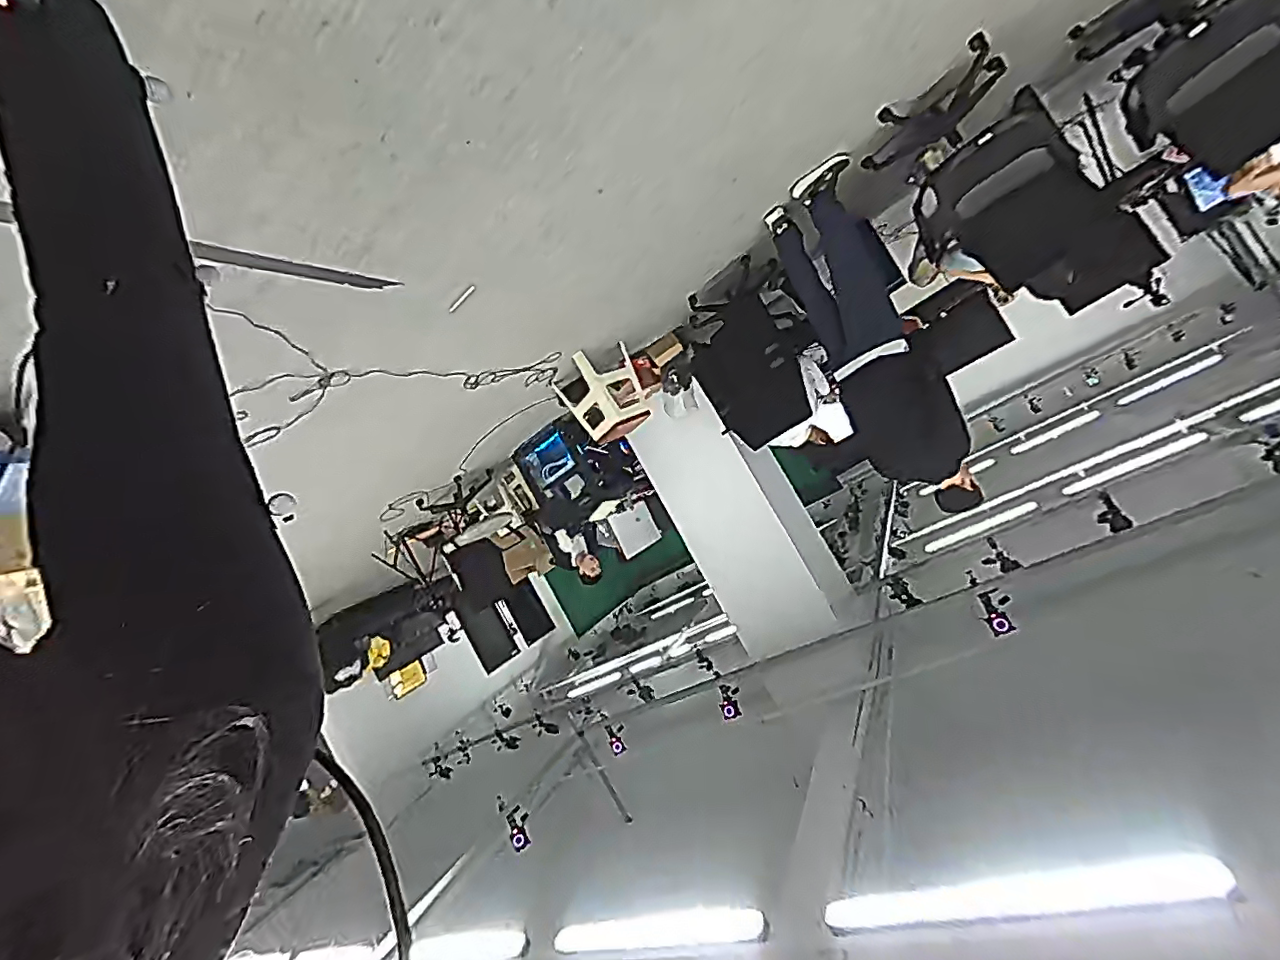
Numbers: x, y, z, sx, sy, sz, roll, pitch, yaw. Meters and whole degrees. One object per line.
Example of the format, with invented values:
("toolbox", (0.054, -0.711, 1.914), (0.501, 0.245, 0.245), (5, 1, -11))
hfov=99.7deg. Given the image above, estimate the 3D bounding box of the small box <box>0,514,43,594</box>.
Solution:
("small box", (-1.704, 0.198, 1.374), (0.168, 0.176, 0.179), (-31, 174, 17))
